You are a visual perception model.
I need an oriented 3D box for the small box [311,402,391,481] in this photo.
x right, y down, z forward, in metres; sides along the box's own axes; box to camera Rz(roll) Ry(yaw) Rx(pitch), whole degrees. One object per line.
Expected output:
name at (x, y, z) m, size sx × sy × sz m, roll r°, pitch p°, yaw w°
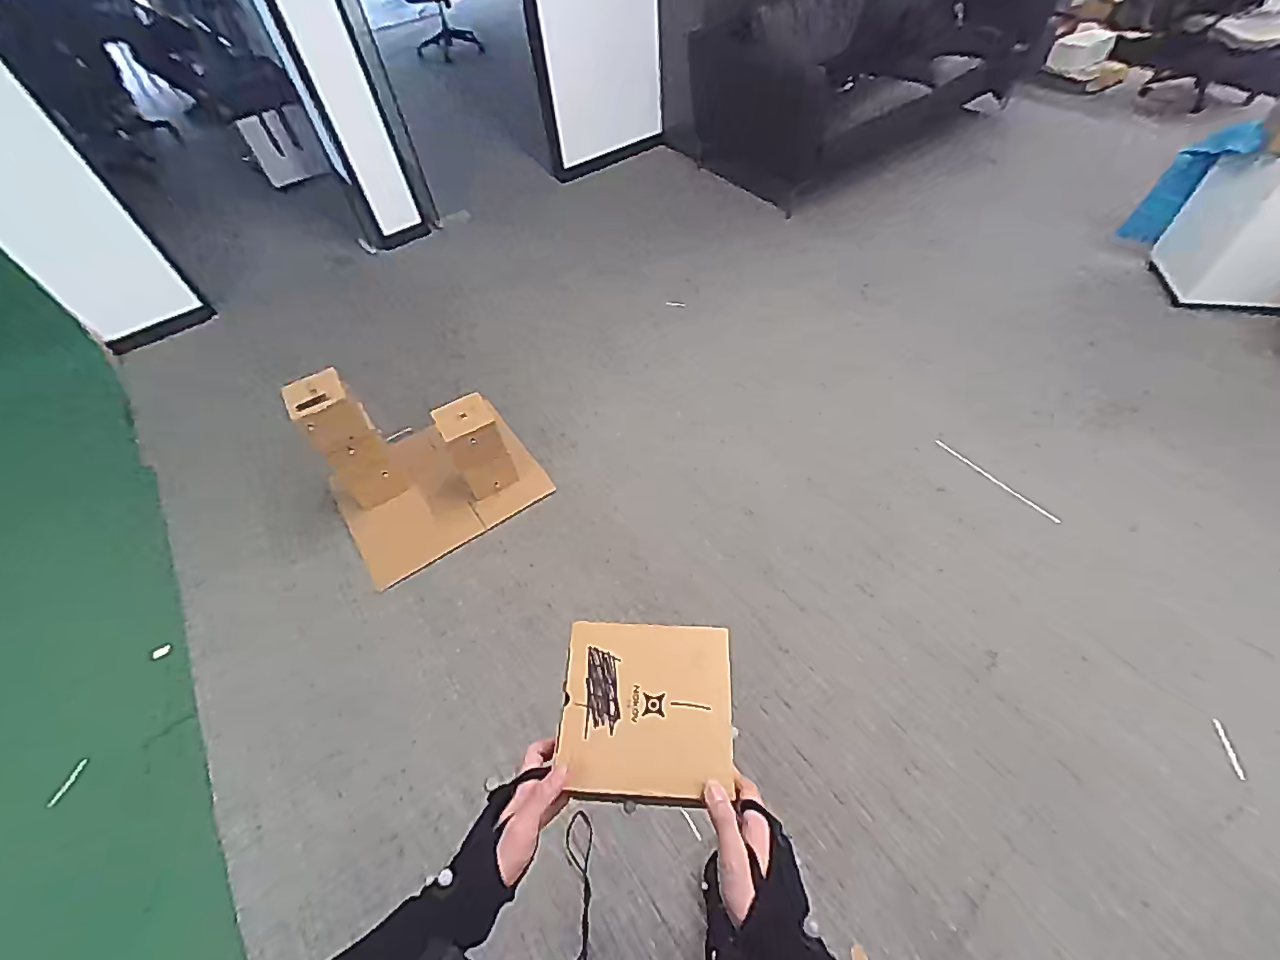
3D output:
small box at (-0.984, -0.130, 1.861) m, size 0.179 × 0.176 × 0.168 m, roll -31°, pitch 57°, yaw -16°

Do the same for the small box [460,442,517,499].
small box at (-0.567, -0.064, 1.983) m, size 0.179 × 0.176 × 0.168 m, roll -29°, pitch 56°, yaw -16°

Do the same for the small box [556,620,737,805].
small box at (0.014, 0.270, 0.618) m, size 0.179 × 0.176 × 0.168 m, roll 1°, pitch 56°, yaw 4°

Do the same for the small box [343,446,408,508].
small box at (-0.979, -0.030, 1.988) m, size 0.179 × 0.176 × 0.168 m, roll -30°, pitch 56°, yaw -17°

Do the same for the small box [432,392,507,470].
small box at (-0.580, -0.162, 1.854) m, size 0.179 × 0.176 × 0.168 m, roll -27°, pitch 56°, yaw -15°
